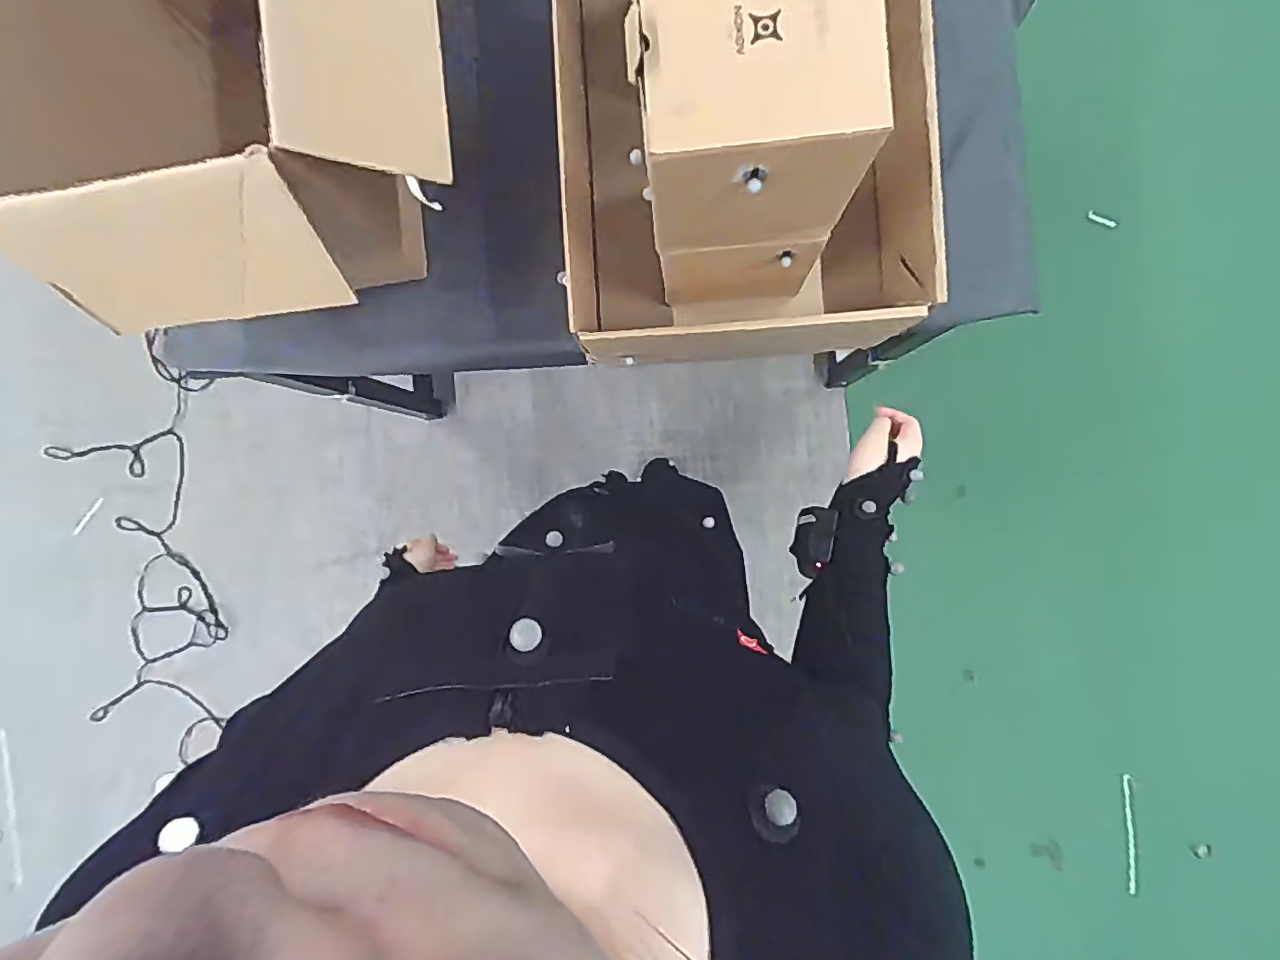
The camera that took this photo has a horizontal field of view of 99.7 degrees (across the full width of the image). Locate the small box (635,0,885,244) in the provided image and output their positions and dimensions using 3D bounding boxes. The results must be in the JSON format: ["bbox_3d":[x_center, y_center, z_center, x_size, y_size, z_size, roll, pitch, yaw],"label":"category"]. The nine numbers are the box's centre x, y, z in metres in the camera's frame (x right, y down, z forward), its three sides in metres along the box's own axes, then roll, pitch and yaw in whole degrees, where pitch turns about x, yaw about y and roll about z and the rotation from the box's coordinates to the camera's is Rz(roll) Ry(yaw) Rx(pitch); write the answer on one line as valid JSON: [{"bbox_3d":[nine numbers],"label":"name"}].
[{"bbox_3d":[0.092,-0.325,0.475,0.179,0.176,0.168,-4,91,3],"label":"small box"}]
